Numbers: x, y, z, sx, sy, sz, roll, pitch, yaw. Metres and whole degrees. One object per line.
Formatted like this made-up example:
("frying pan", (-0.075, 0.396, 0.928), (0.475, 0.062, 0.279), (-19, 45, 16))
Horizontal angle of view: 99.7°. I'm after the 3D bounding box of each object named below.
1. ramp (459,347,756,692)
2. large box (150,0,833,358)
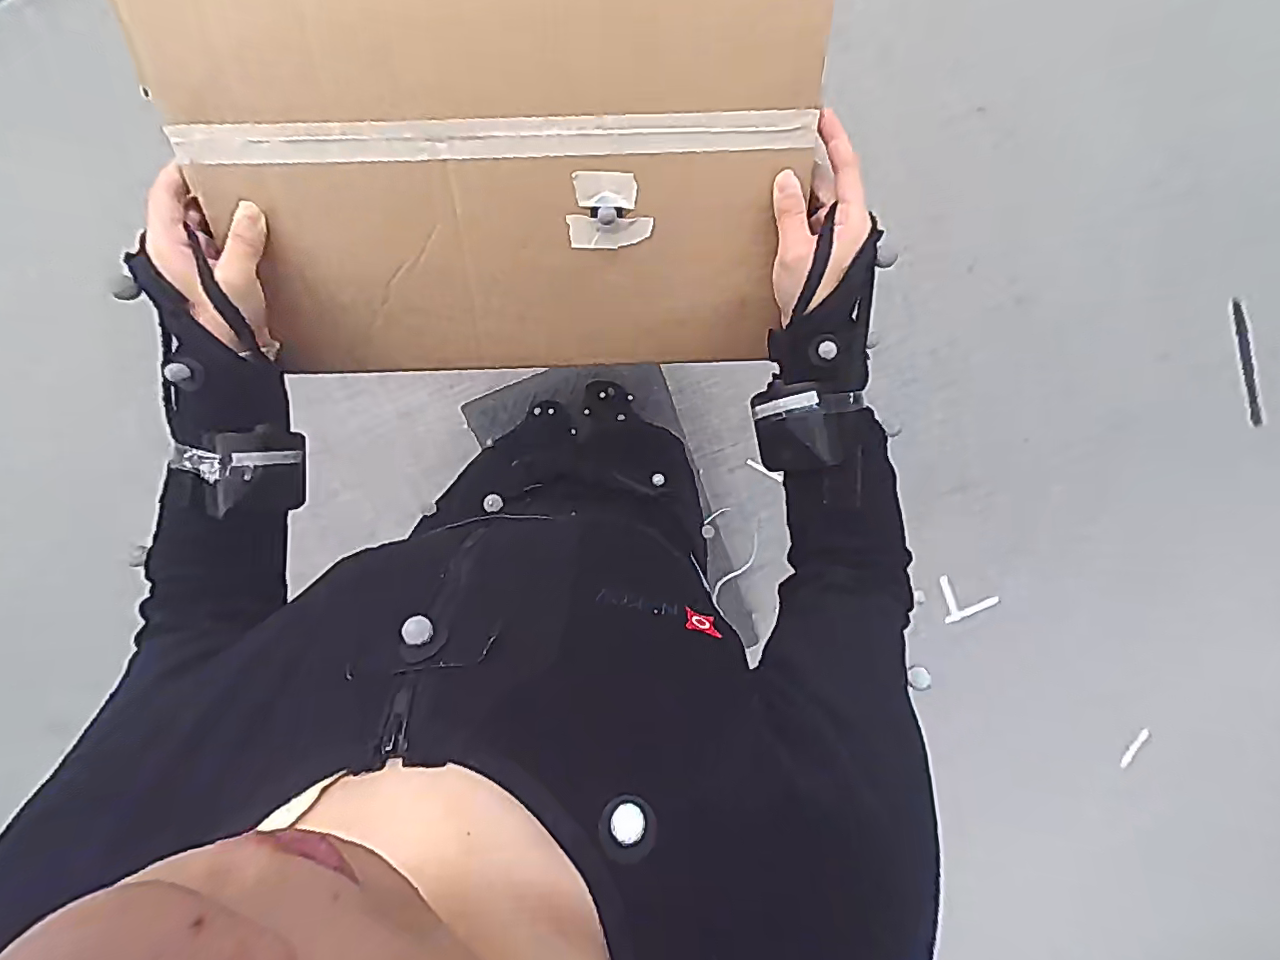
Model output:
("ramp", (-0.038, 0.143, 1.478), (0.509, 0.206, 0.991), (-23, 102, 2))
("large box", (-0.091, -0.314, 0.471), (0.408, 0.320, 0.320), (-2, 125, -2))
